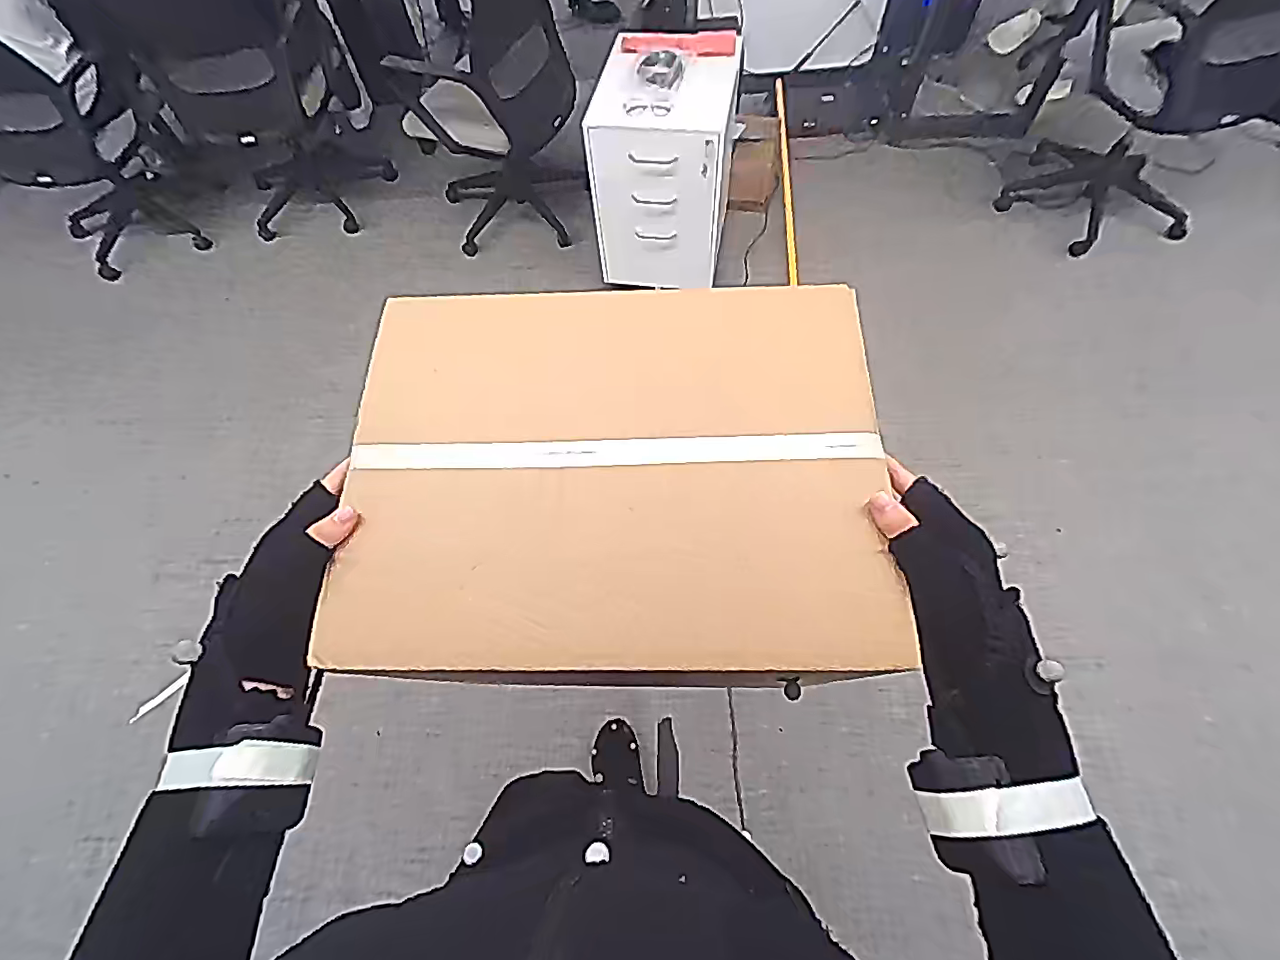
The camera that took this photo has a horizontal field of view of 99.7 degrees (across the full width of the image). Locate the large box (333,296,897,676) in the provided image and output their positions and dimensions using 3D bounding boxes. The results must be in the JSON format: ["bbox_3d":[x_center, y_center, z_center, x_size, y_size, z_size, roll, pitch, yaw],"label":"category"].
[{"bbox_3d":[-0.013,0.039,0.567,0.408,0.320,0.320,-1,67,3],"label":"large box"}]
